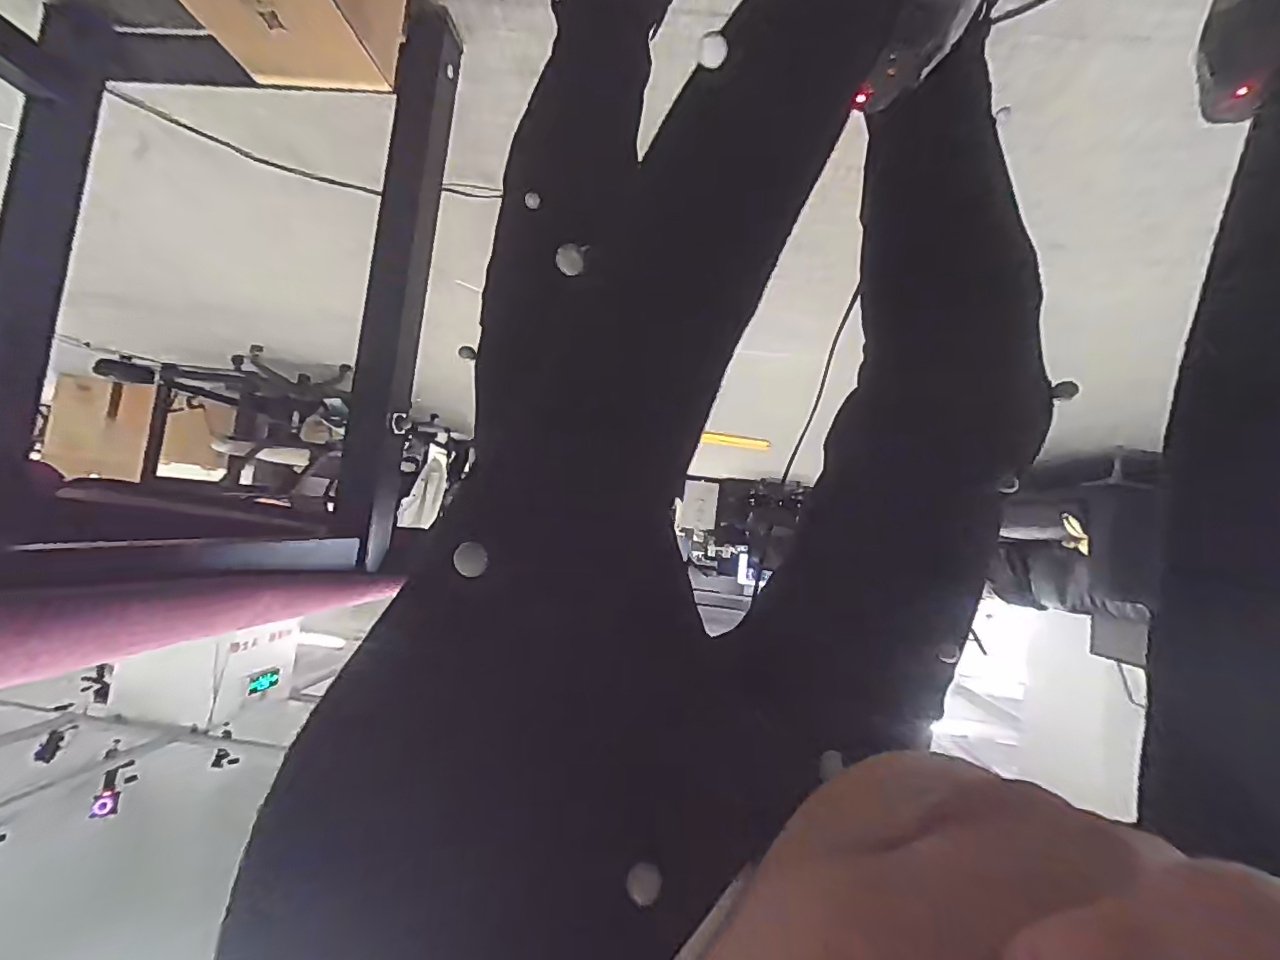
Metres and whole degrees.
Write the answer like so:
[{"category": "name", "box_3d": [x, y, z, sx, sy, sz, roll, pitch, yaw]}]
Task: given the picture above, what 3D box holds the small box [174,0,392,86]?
[{"category": "small box", "box_3d": [-0.358, -0.534, 0.526, 0.168, 0.176, 0.179, 7, 175, 5]}]
